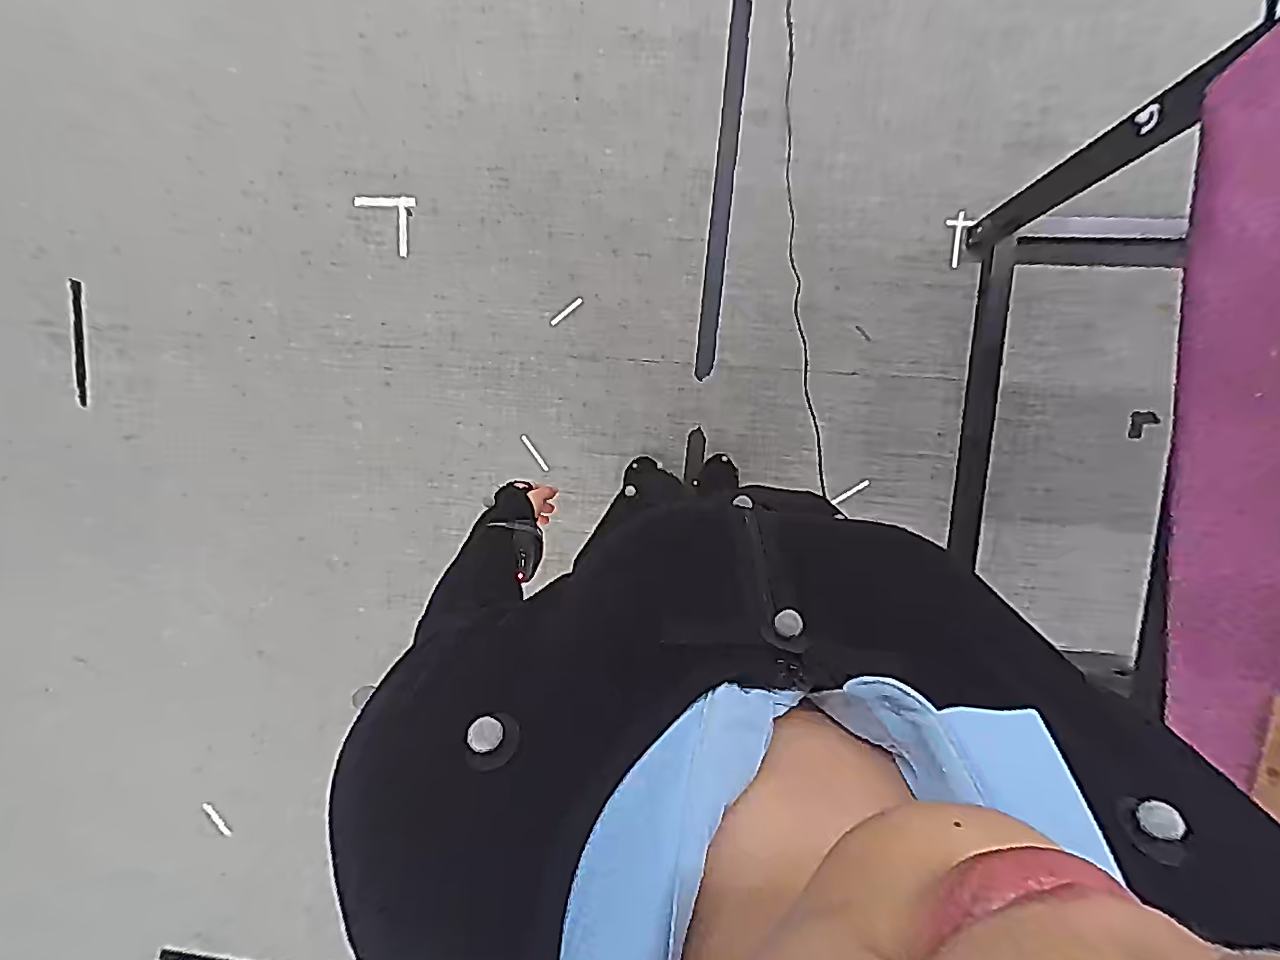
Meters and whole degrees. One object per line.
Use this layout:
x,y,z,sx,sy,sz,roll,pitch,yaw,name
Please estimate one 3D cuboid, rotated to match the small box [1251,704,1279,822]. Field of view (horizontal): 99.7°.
0.917,0.378,0.641,0.179,0.176,0.168,6,96,3,small box
